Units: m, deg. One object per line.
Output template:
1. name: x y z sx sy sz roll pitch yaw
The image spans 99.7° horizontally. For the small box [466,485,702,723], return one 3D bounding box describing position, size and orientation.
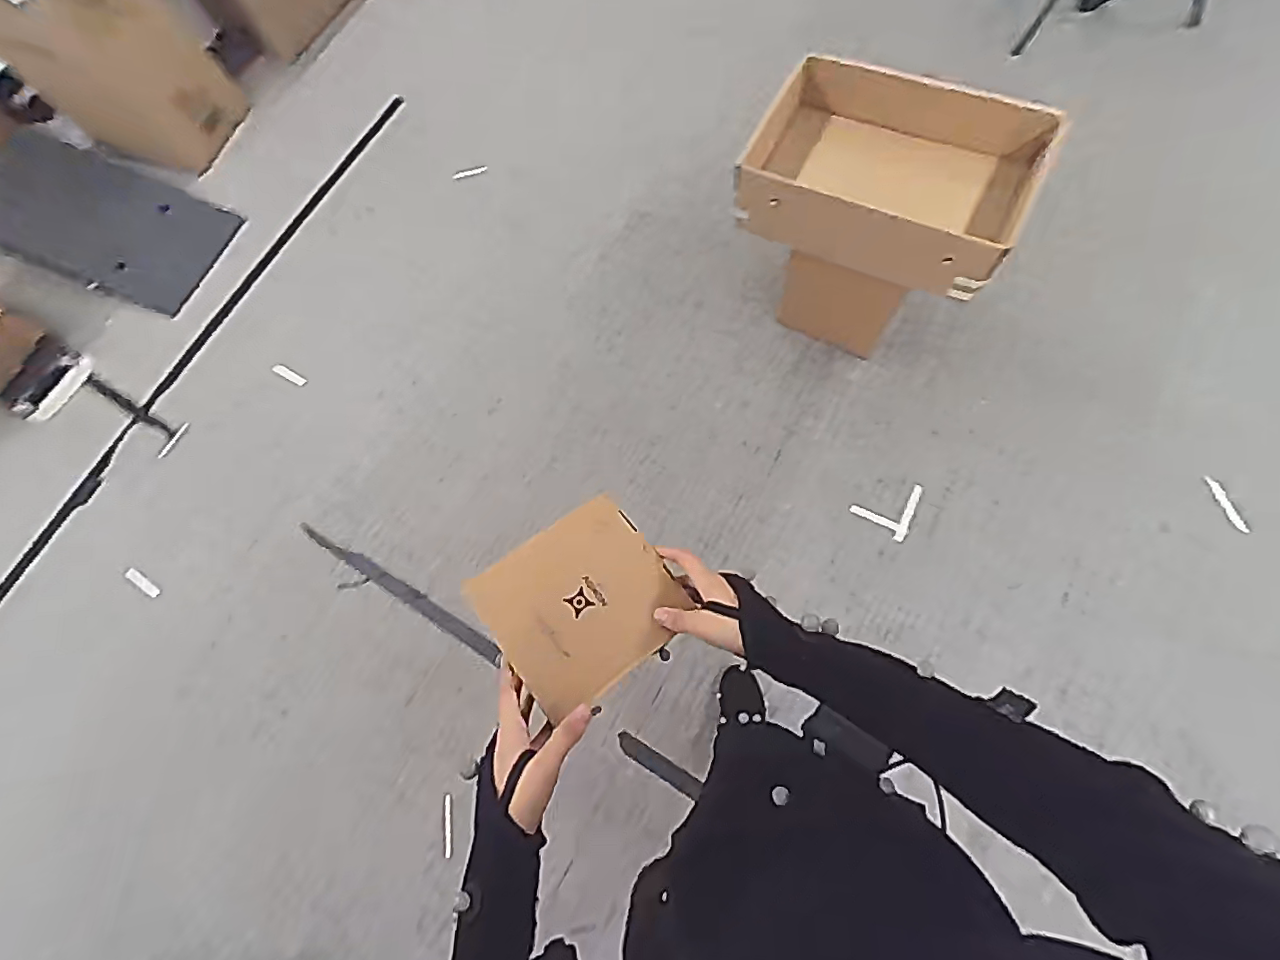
1. small box: -0.062 0.139 0.595 0.179 0.176 0.168 -34 74 -18
